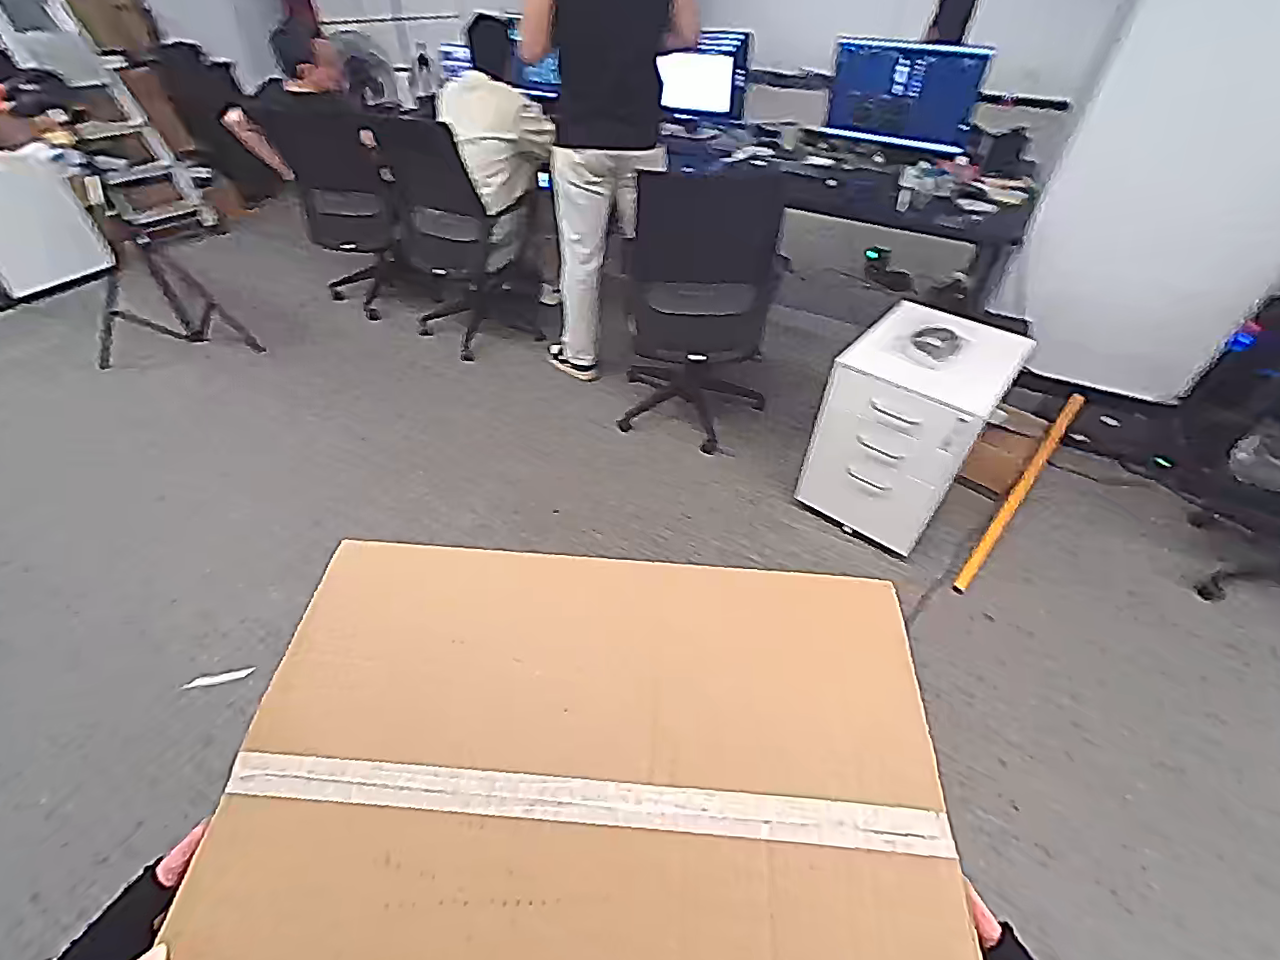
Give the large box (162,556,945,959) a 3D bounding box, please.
[{"bbox_3d":[-0.041,0.278,0.435,0.408,0.320,0.320,3,54,2],"label":"large box"}]
